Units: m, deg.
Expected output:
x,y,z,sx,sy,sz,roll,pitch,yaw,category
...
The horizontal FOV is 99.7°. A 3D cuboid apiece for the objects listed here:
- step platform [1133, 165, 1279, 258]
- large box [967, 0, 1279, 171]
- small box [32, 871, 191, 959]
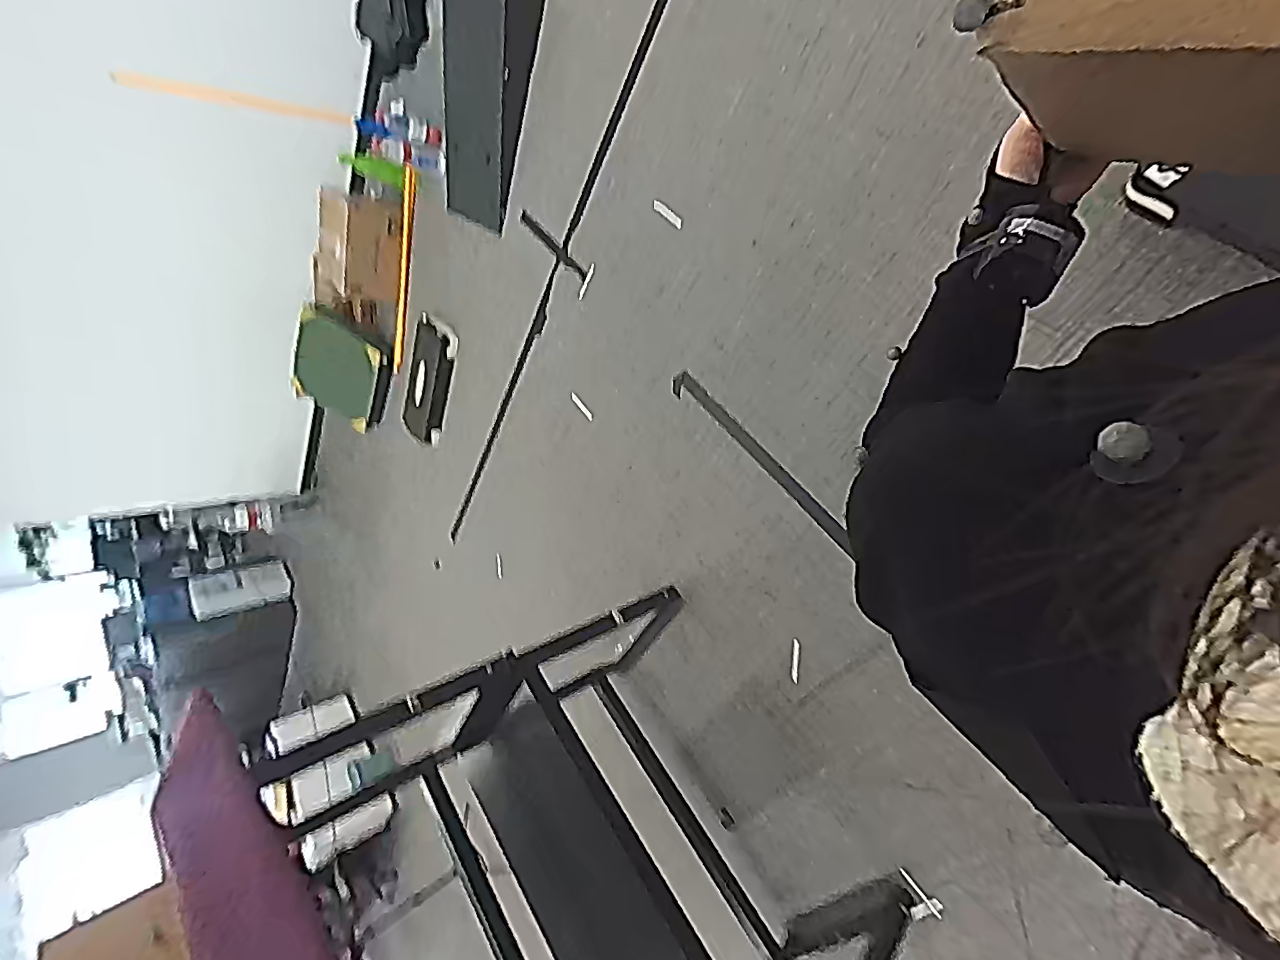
x,y,z,sx,sy,sz,roll,pitch,yaw,category
1.147,-0.426,0.807,0.684,0.204,0.286,56,129,22,step platform
0.402,-0.273,0.156,0.408,0.320,0.320,28,123,34,large box
-0.894,0.811,0.923,0.179,0.176,0.168,53,129,23,small box
